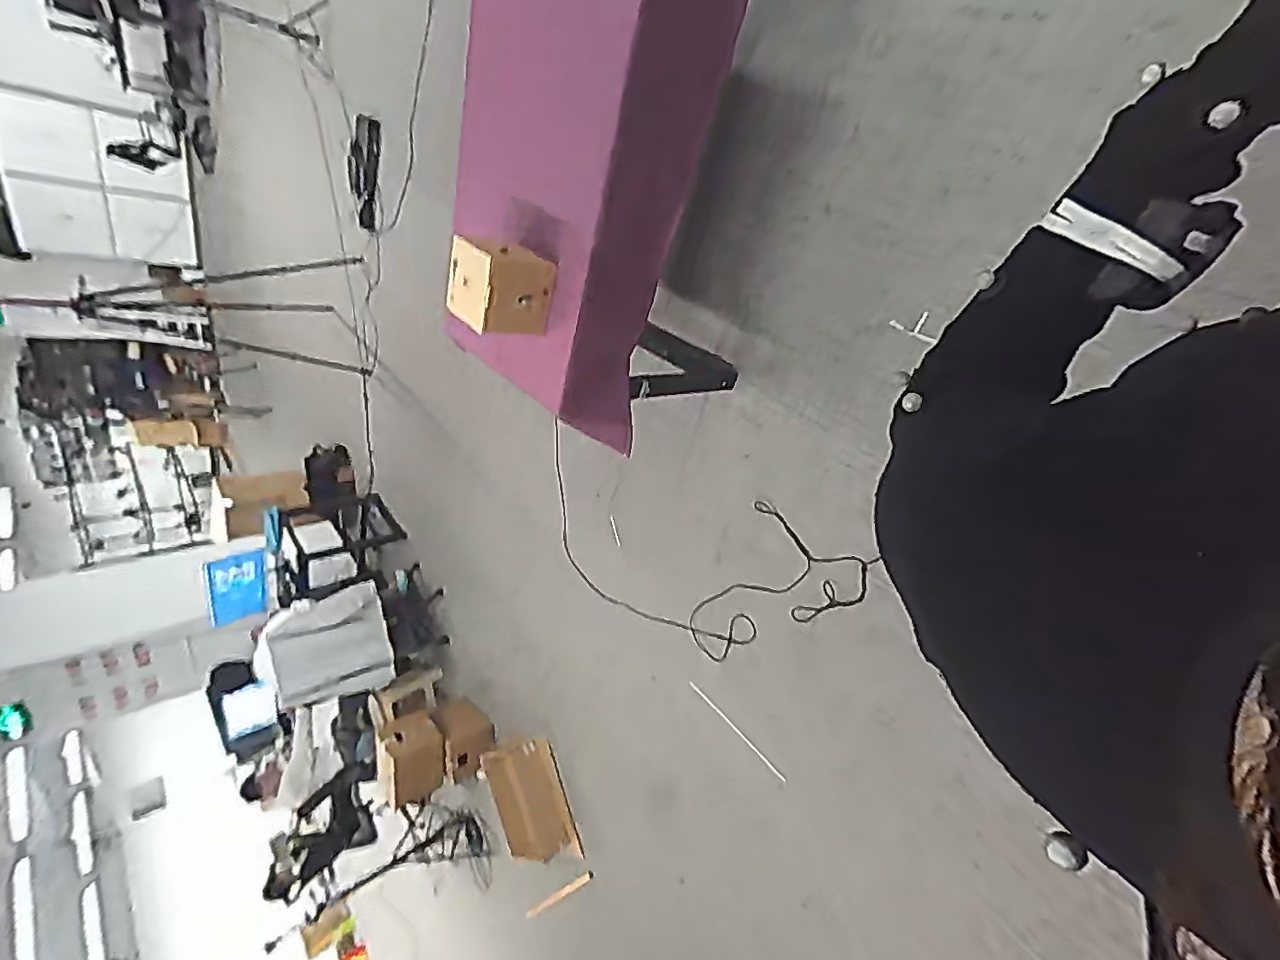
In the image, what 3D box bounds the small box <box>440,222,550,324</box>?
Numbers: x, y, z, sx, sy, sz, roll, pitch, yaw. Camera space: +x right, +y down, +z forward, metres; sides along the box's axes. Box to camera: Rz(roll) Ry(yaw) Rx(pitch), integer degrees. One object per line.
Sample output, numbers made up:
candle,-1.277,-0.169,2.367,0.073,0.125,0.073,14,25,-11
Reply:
small box,-0.330,-0.468,1.234,0.179,0.176,0.168,40,125,31
